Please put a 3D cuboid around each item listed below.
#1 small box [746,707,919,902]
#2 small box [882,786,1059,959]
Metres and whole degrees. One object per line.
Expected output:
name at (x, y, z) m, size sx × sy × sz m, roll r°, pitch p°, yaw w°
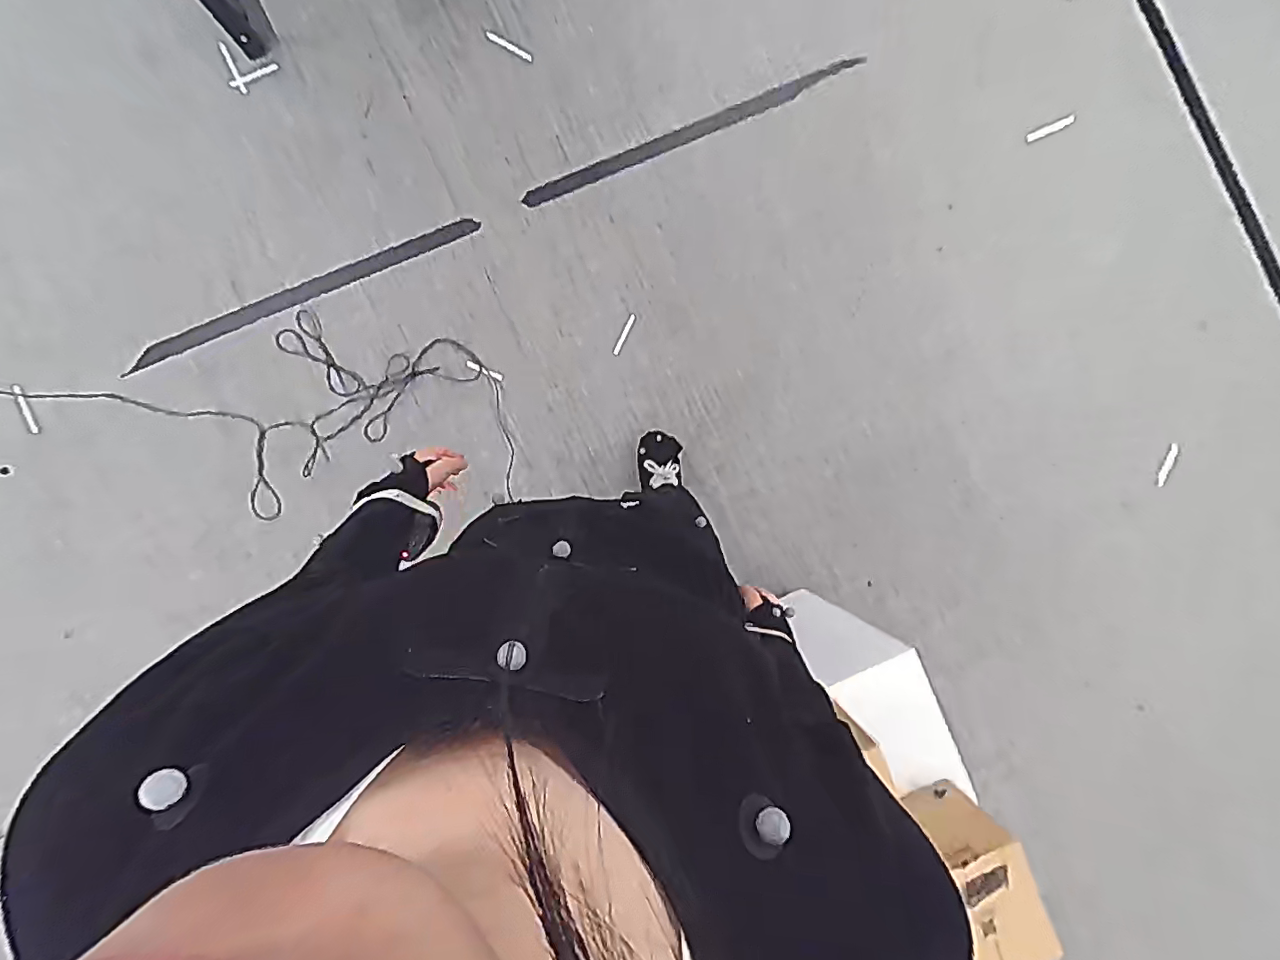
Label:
small box at (0.276, 0.469, 0.819) m, size 0.168 × 0.176 × 0.179 m, roll -20°, pitch 90°, yaw -2°
small box at (0.470, 0.603, 0.823) m, size 0.168 × 0.176 × 0.179 m, roll -21°, pitch 90°, yaw -2°
